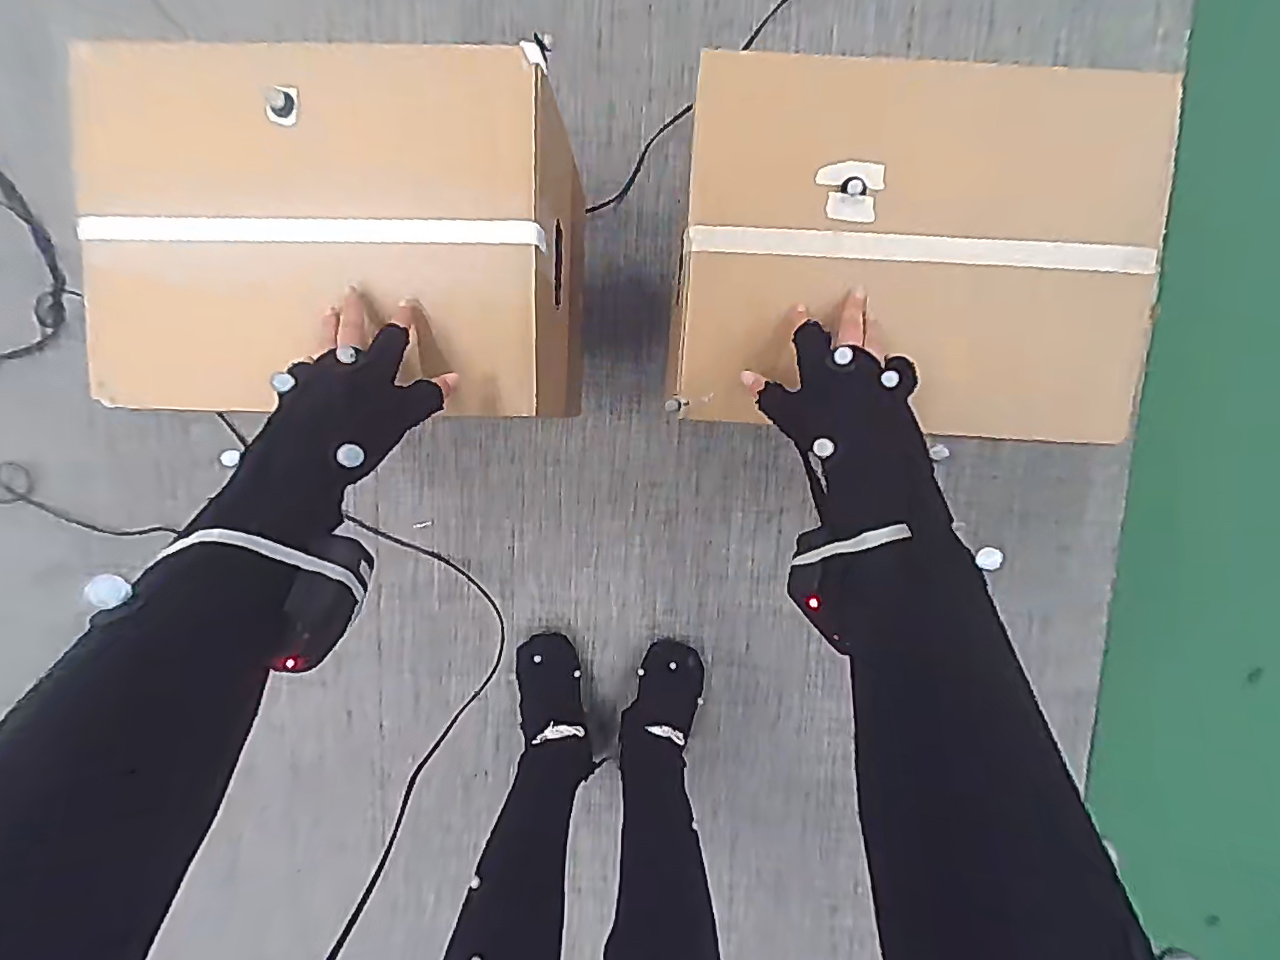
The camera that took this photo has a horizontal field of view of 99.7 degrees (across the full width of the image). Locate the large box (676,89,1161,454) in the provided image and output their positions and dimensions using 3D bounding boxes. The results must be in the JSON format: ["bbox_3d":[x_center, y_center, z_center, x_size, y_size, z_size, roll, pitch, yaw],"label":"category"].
[{"bbox_3d":[0.258,-0.207,0.645,0.408,0.320,0.320,4,96,1],"label":"large box"}]
